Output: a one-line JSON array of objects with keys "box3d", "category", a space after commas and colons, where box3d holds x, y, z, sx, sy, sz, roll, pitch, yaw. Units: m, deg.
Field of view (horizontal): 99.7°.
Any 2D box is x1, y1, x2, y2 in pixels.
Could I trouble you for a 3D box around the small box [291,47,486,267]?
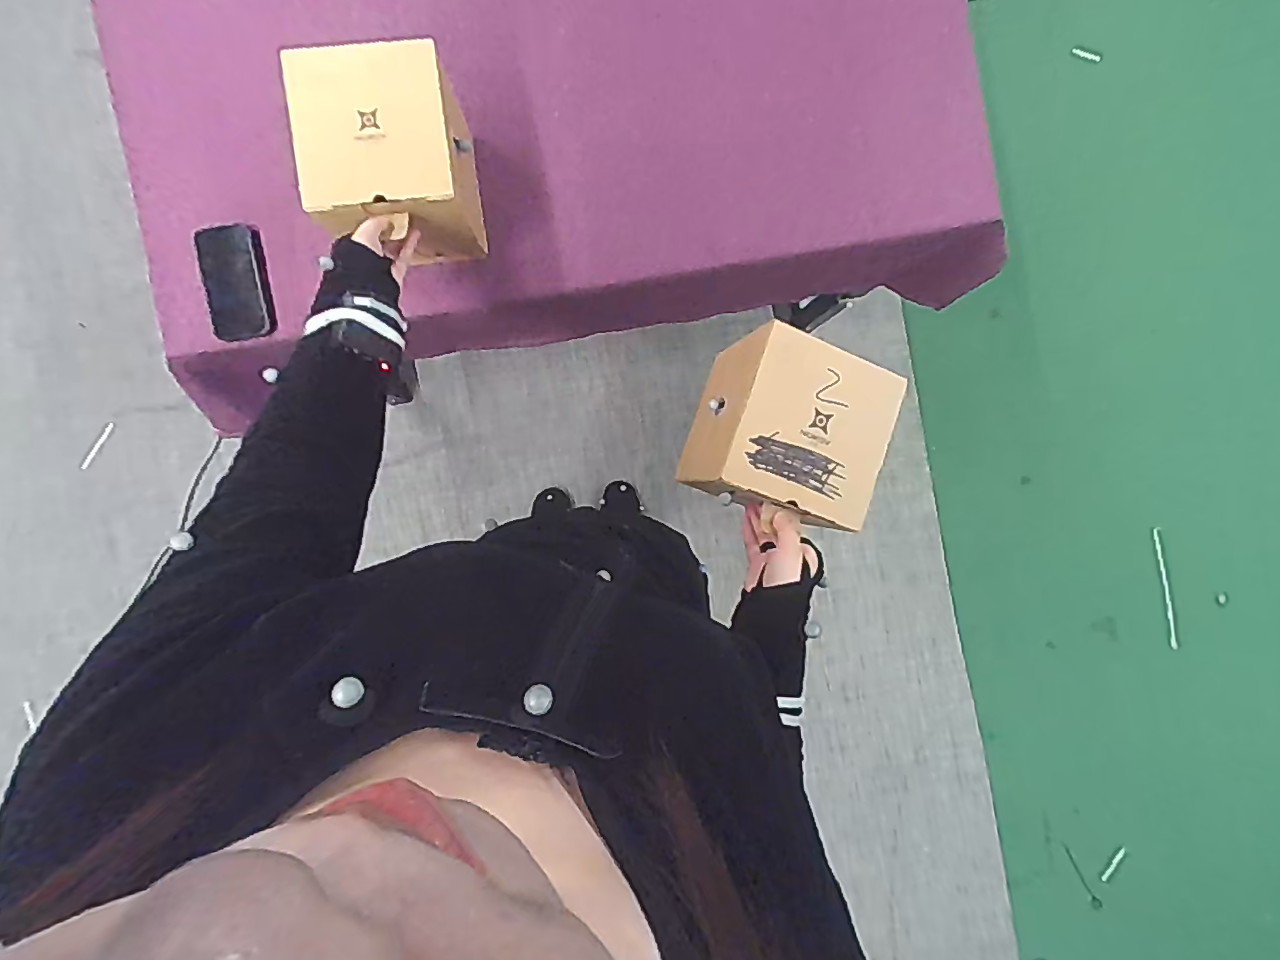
[{"box3d": [-0.300, -0.391, 0.680, 0.168, 0.176, 0.179, -7, 92, -4], "category": "small box"}]
